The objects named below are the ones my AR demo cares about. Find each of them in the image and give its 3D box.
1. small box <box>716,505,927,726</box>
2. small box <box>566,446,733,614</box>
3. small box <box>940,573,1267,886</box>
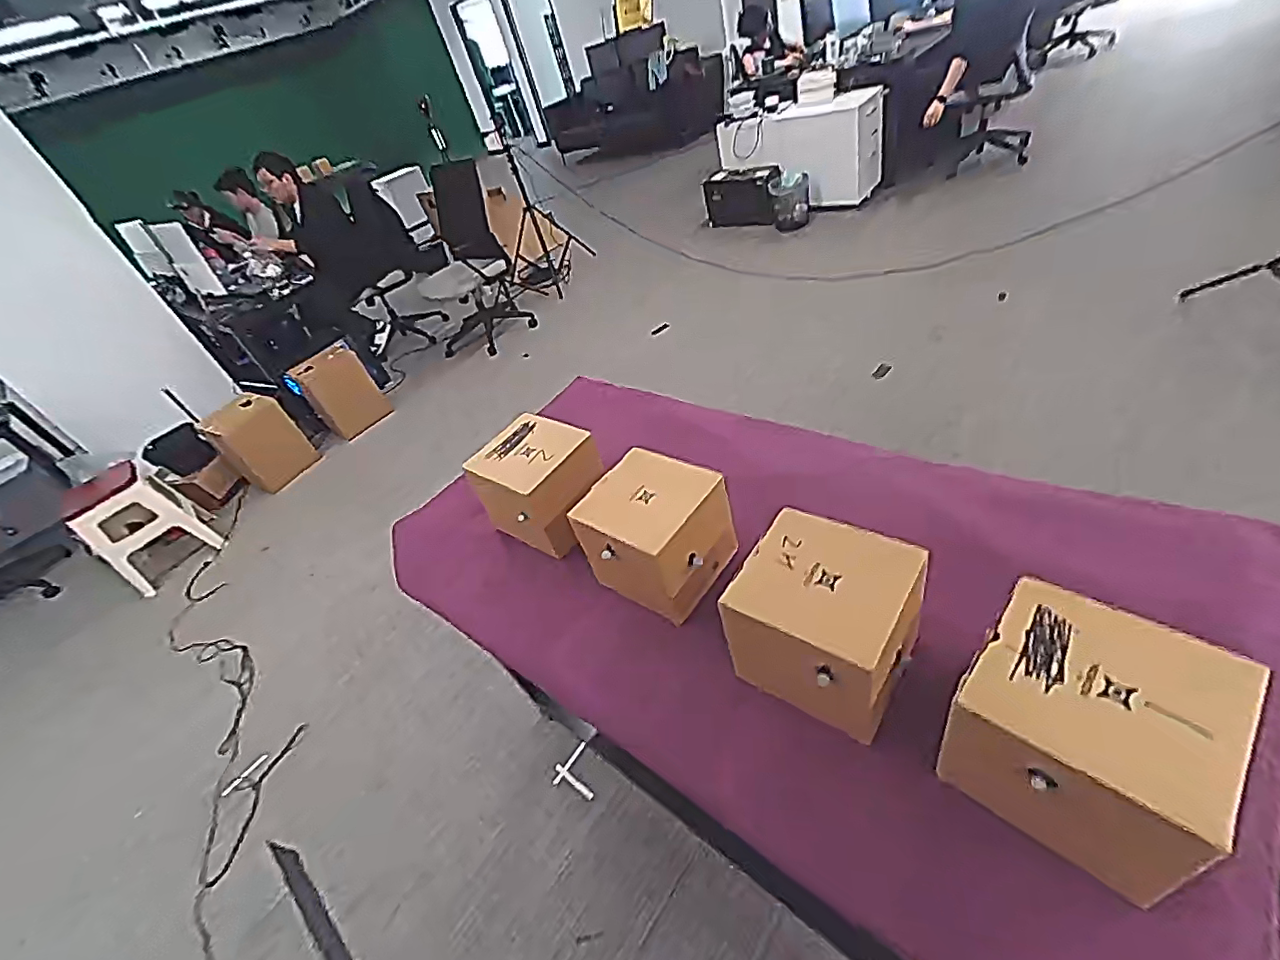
[{"bbox_3d":[0.219,0.162,0.649,0.179,0.176,0.168,18,51,37],"label":"small box"},{"bbox_3d":[0.024,0.078,0.829,0.179,0.176,0.168,19,54,38],"label":"small box"},{"bbox_3d":[0.404,0.226,0.501,0.179,0.176,0.168,25,56,40],"label":"small box"}]
